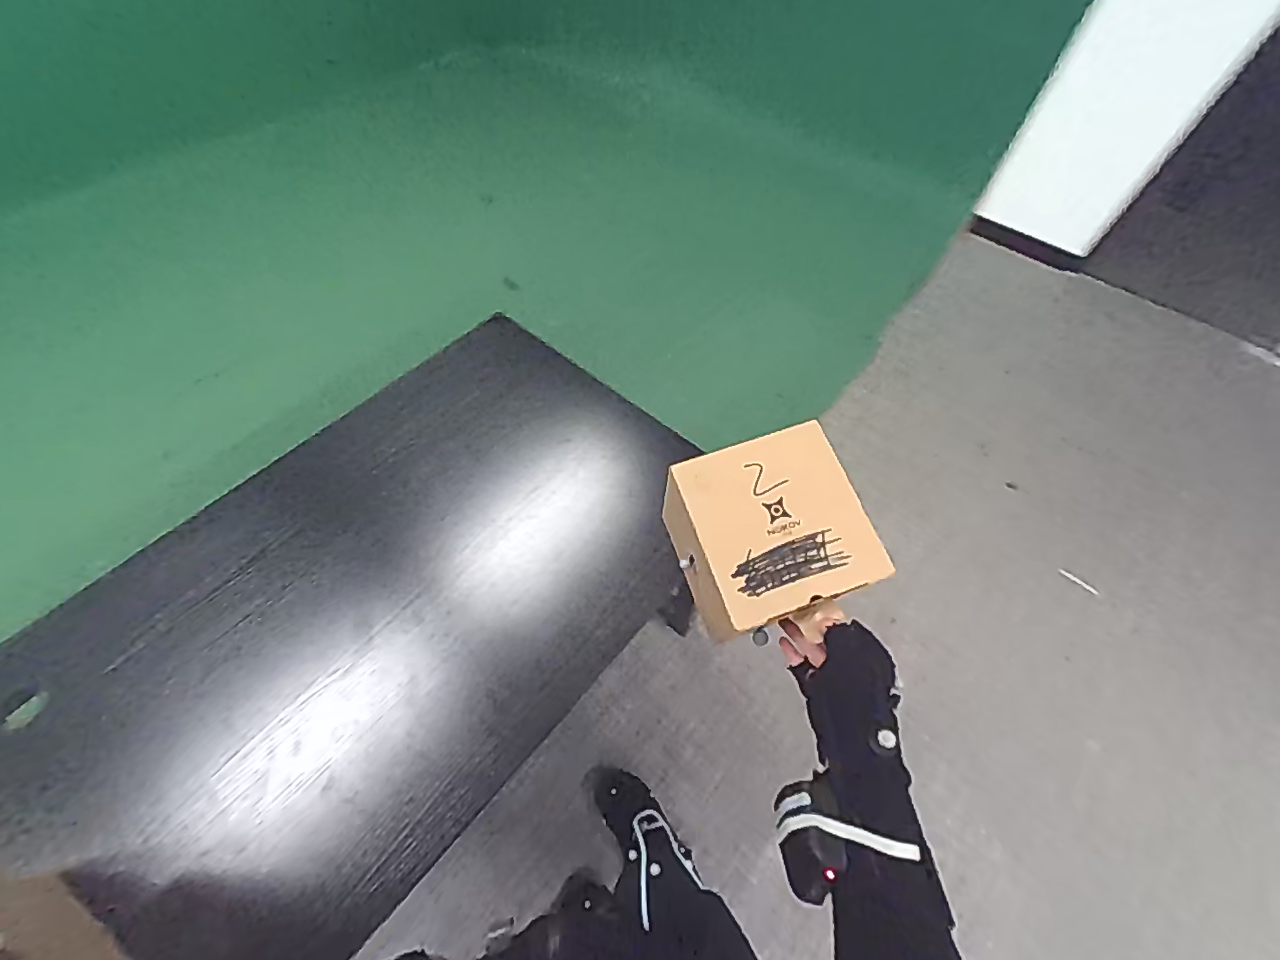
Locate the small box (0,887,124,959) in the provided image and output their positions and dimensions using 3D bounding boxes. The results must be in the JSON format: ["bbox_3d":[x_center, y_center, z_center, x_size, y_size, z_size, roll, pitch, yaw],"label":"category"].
[{"bbox_3d":[-0.586,0.474,0.444,0.179,0.176,0.168,29,61,14],"label":"small box"}]
